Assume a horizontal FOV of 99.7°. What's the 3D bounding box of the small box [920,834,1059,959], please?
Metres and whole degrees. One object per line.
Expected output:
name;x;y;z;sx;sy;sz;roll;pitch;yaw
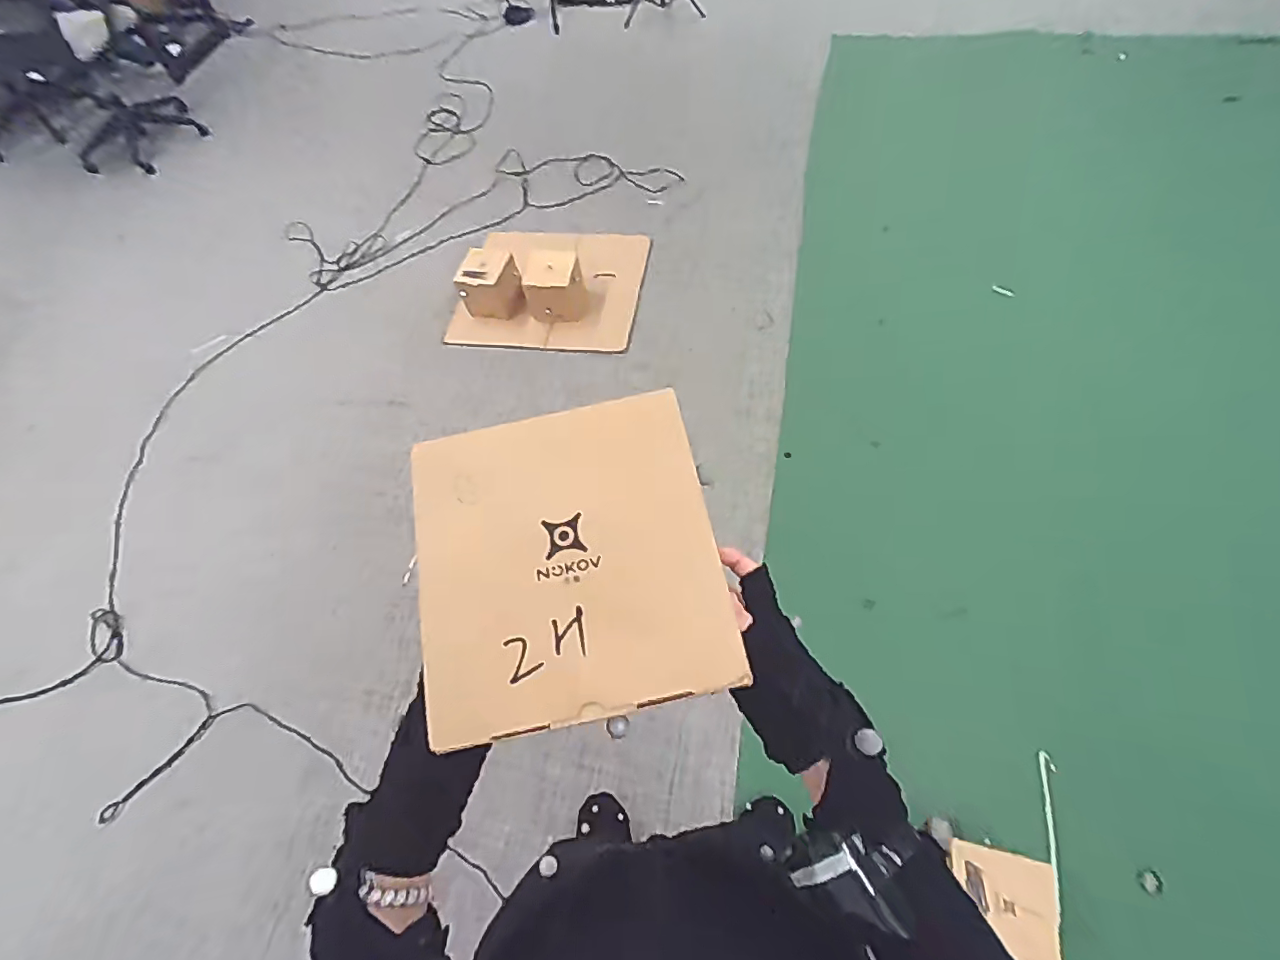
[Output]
small box;0.657;0.800;1.040;0.179;0.176;0.168;10;63;11

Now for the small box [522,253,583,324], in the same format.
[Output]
small box;-0.310;-0.691;1.956;0.168;0.176;0.179;5;63;8

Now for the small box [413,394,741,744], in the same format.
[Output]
small box;-0.040;0.069;0.376;0.168;0.176;0.179;-12;68;-1
